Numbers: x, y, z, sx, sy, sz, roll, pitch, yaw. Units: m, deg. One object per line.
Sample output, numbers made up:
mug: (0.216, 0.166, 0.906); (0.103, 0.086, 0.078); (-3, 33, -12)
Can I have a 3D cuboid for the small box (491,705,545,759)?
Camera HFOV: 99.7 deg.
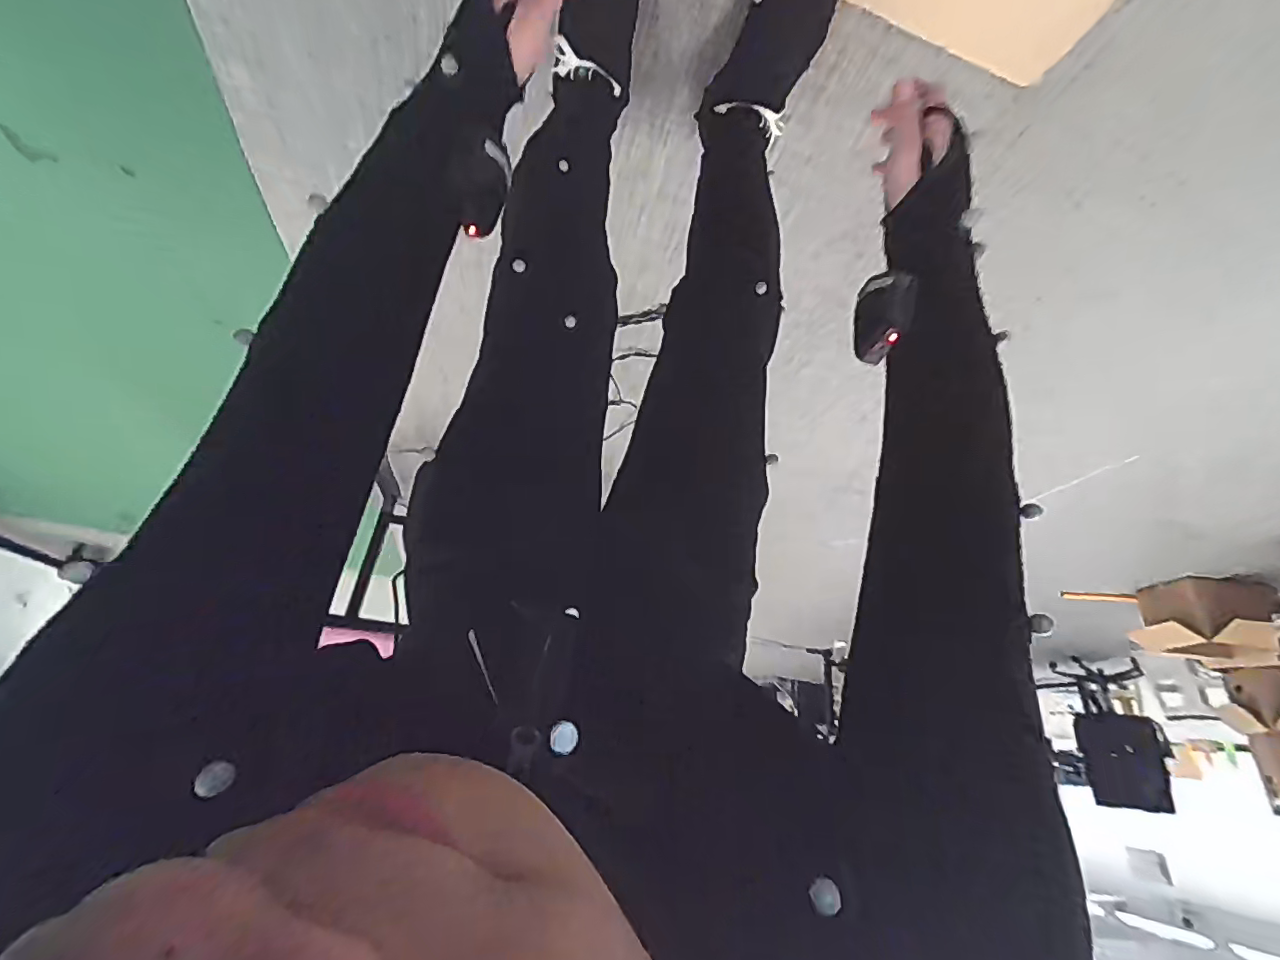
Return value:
small box: (-0.463, 0.955, 2.050); (0.168, 0.176, 0.179); (13, 153, -12)
